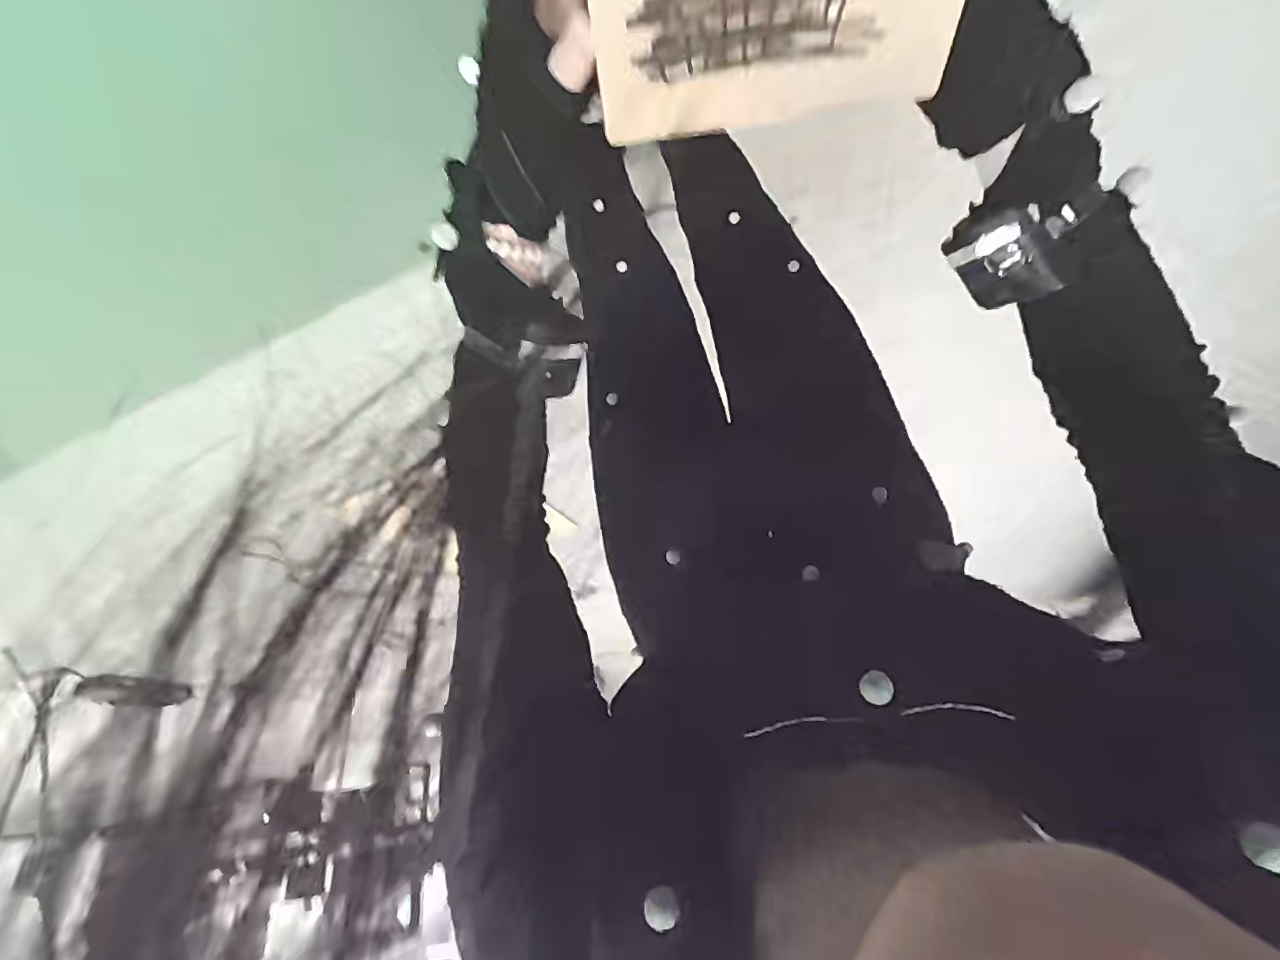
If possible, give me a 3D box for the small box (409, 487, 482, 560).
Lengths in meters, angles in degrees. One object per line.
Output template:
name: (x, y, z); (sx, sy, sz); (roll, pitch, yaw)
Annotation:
small box: (-0.659, 0.149, 1.849); (0.179, 0.176, 0.168); (-19, 148, 12)
